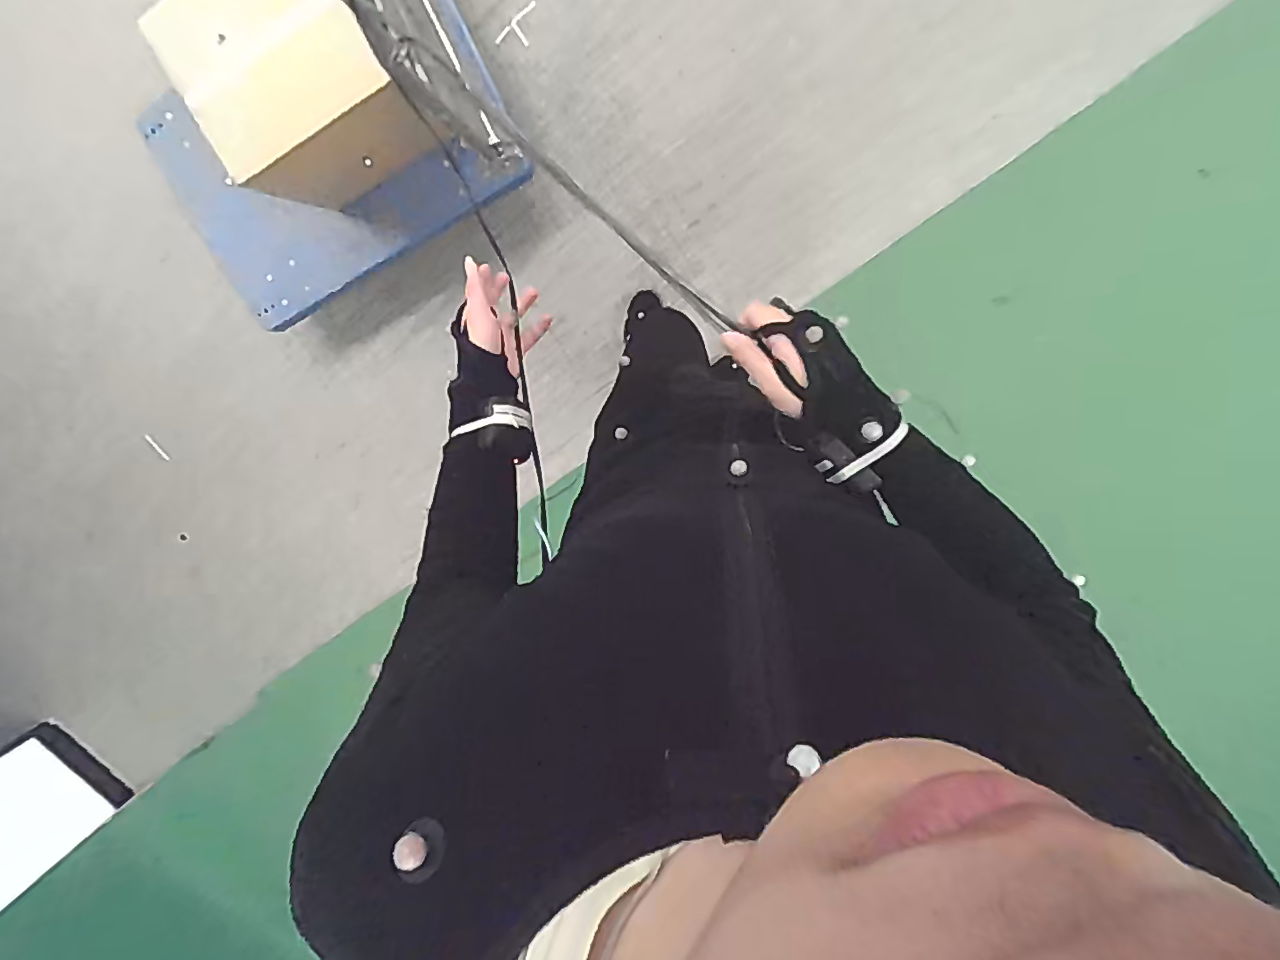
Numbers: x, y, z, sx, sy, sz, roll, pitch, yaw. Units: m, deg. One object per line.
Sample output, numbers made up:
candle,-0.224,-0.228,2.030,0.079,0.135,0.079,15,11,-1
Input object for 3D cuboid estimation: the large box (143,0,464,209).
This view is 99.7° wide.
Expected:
large box,-0.660,-0.828,1.124,0.408,0.320,0.320,-23,104,14
